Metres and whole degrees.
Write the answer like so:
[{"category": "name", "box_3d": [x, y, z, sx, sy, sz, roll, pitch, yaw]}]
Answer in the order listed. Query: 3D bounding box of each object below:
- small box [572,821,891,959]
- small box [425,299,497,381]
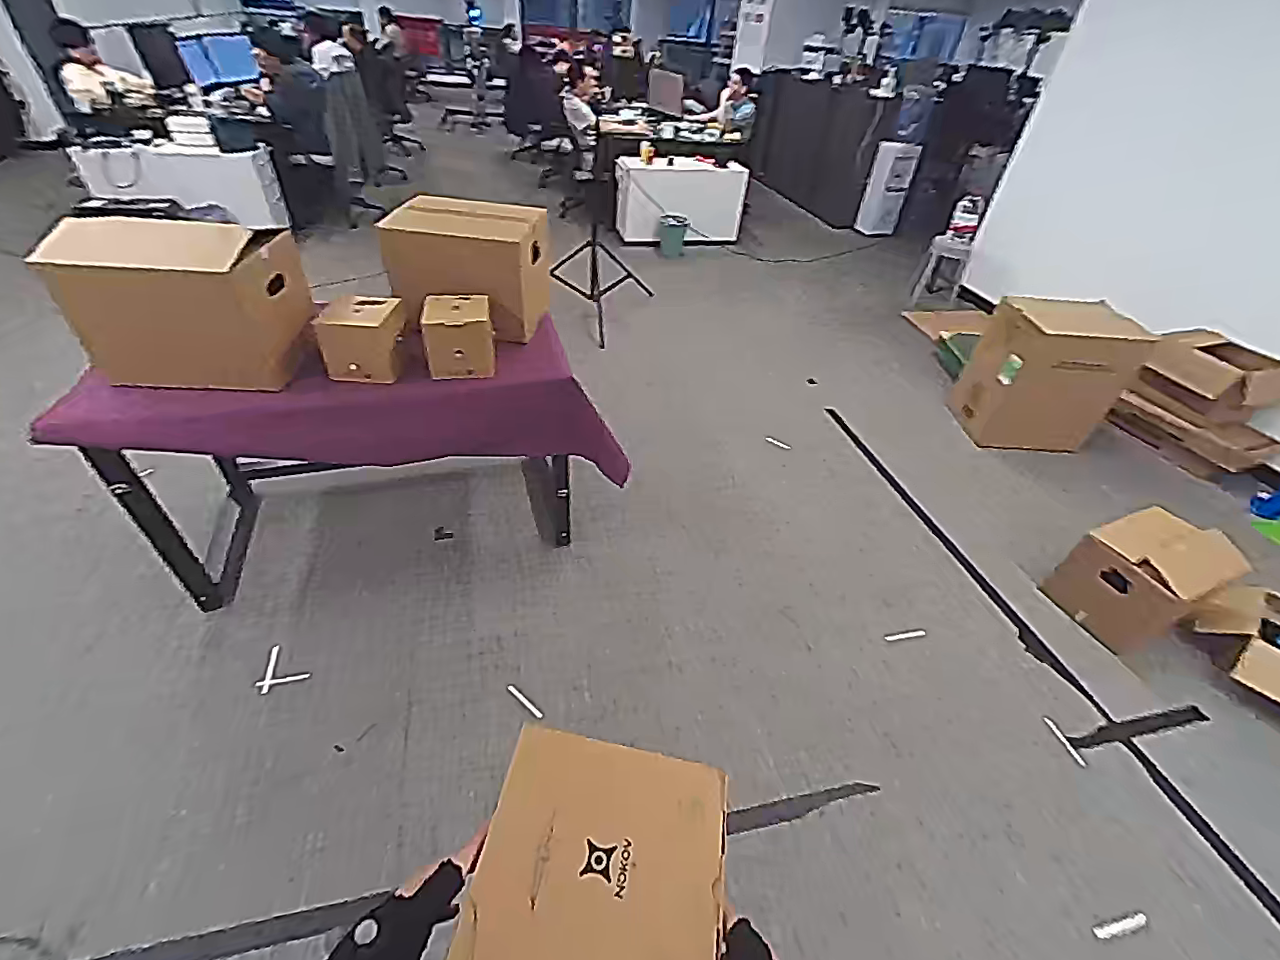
[{"category": "small box", "box_3d": [0.074, 0.368, 0.363, 0.176, 0.168, 0.179, 26, 16, -44]}, {"category": "small box", "box_3d": [-0.491, -0.386, 1.502, 0.168, 0.176, 0.179, -4, 41, -12]}]
